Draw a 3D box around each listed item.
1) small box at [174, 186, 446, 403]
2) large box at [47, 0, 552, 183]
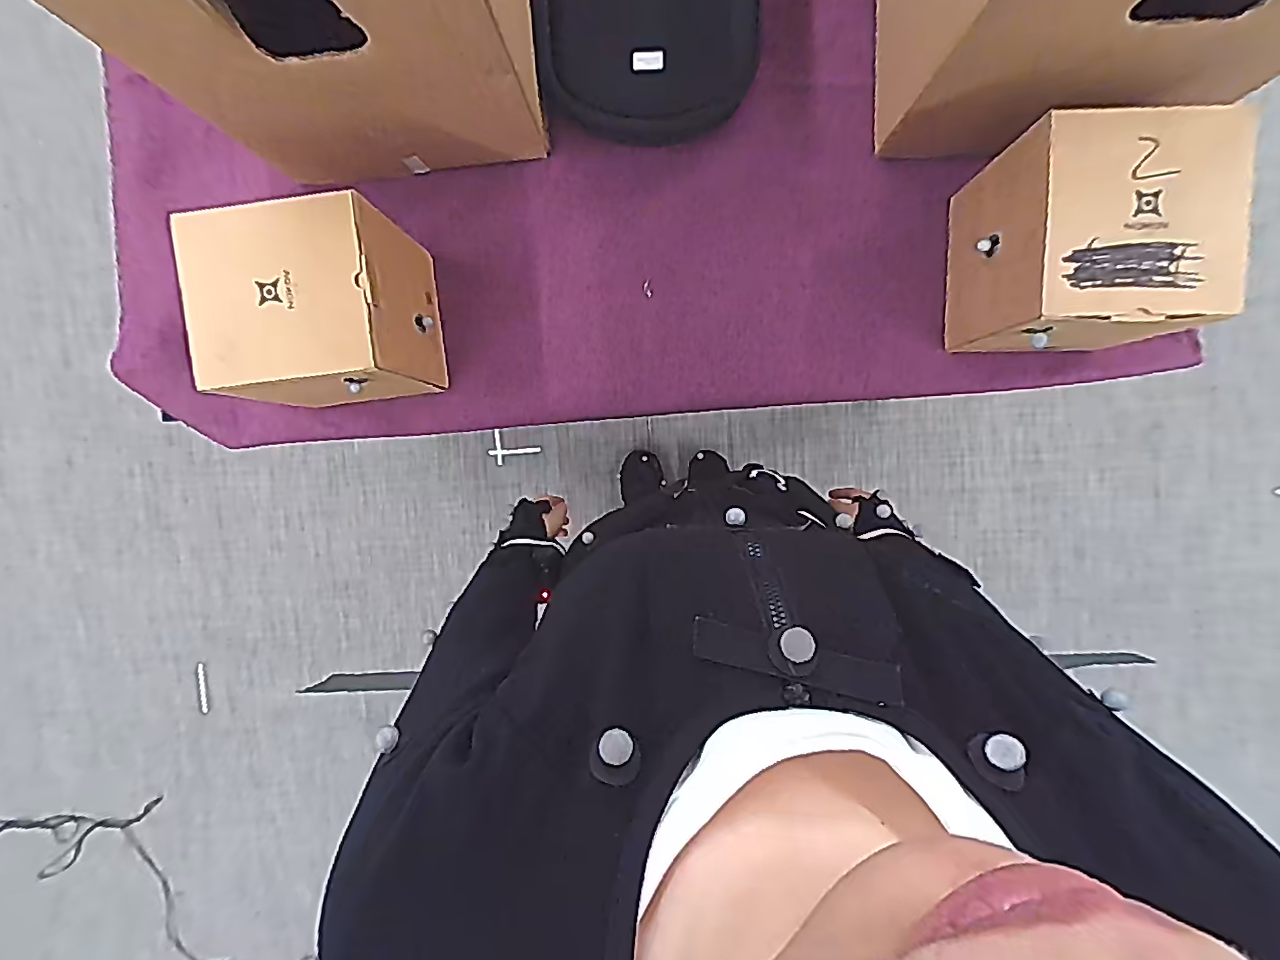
[{"bbox_3d":[-0.333,-0.180,0.578,0.179,0.176,0.168,-7,92,2],"label":"small box"},{"bbox_3d":[-0.279,-0.553,0.482,0.320,0.320,0.408,-6,96,3],"label":"large box"}]
